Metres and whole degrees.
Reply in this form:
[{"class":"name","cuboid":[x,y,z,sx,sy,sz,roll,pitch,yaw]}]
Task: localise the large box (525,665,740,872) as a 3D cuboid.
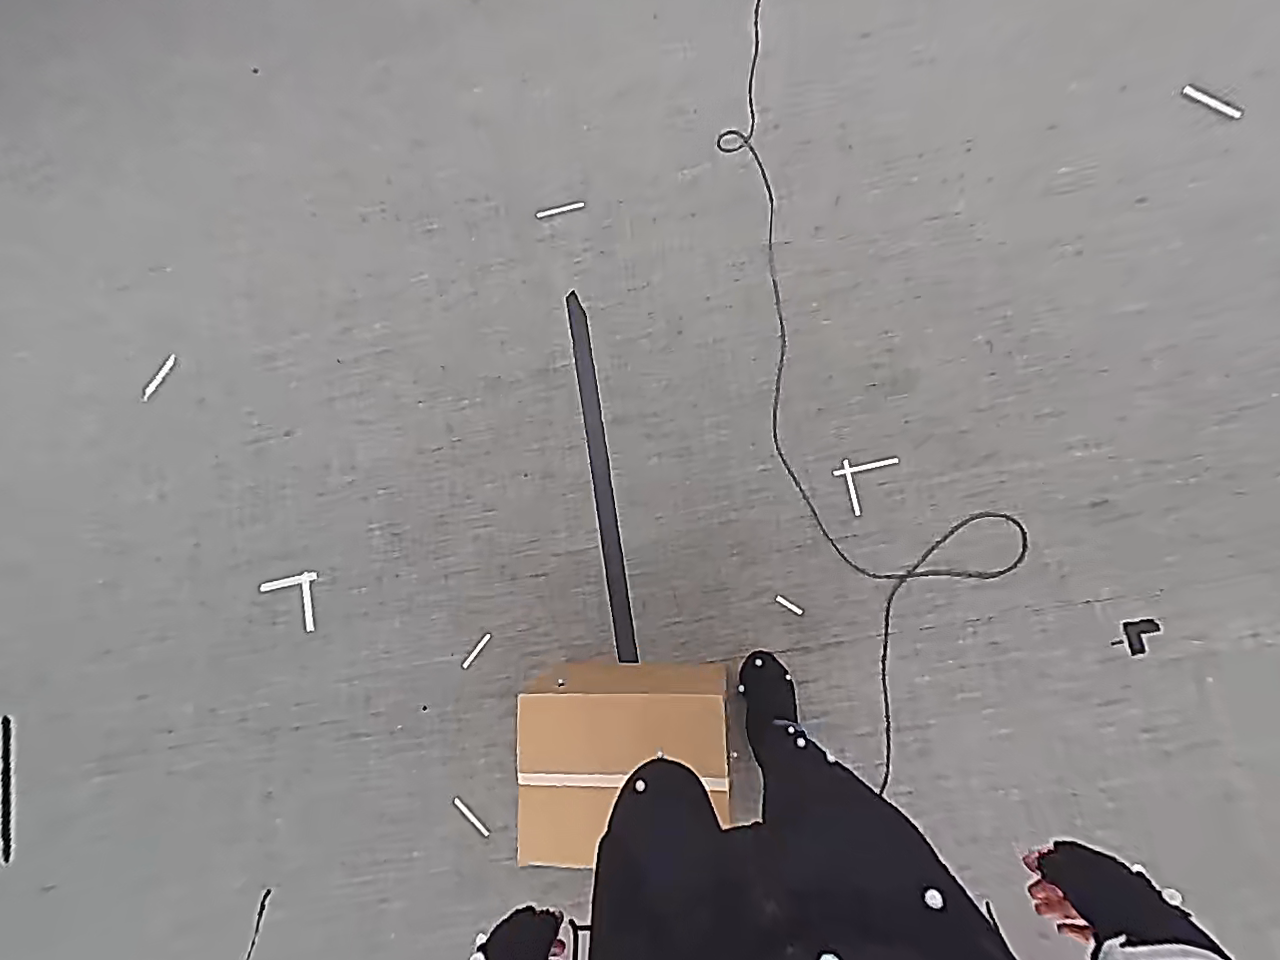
[{"class":"large box","cuboid":[-0.004,0.582,1.157,0.408,0.320,0.320,-3,82,8]}]
